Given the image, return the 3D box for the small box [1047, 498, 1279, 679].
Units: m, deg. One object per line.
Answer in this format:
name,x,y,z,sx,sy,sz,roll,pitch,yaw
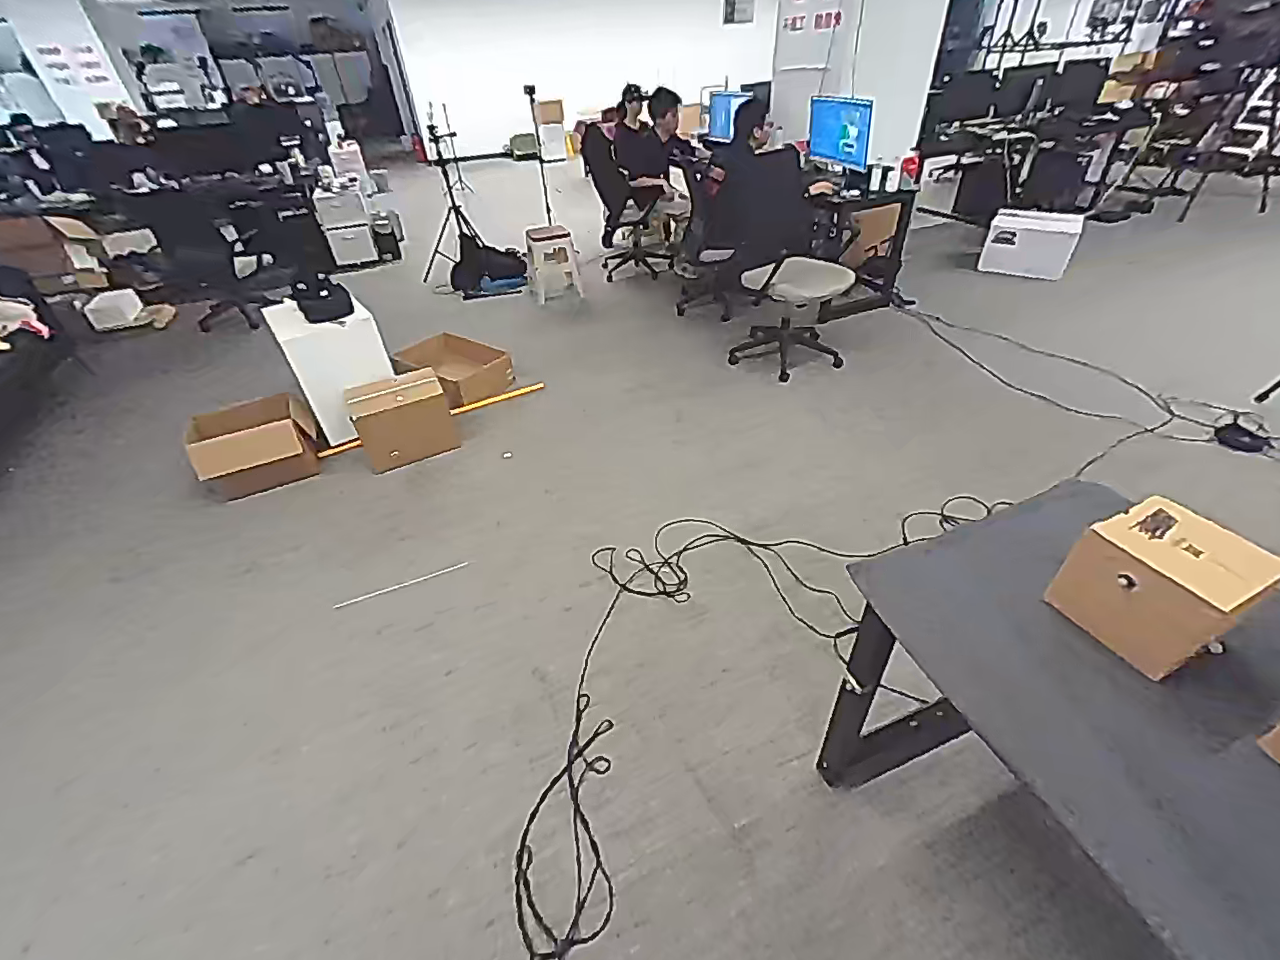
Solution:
small box,0.773,0.161,0.814,0.168,0.176,0.179,-19,41,-17
